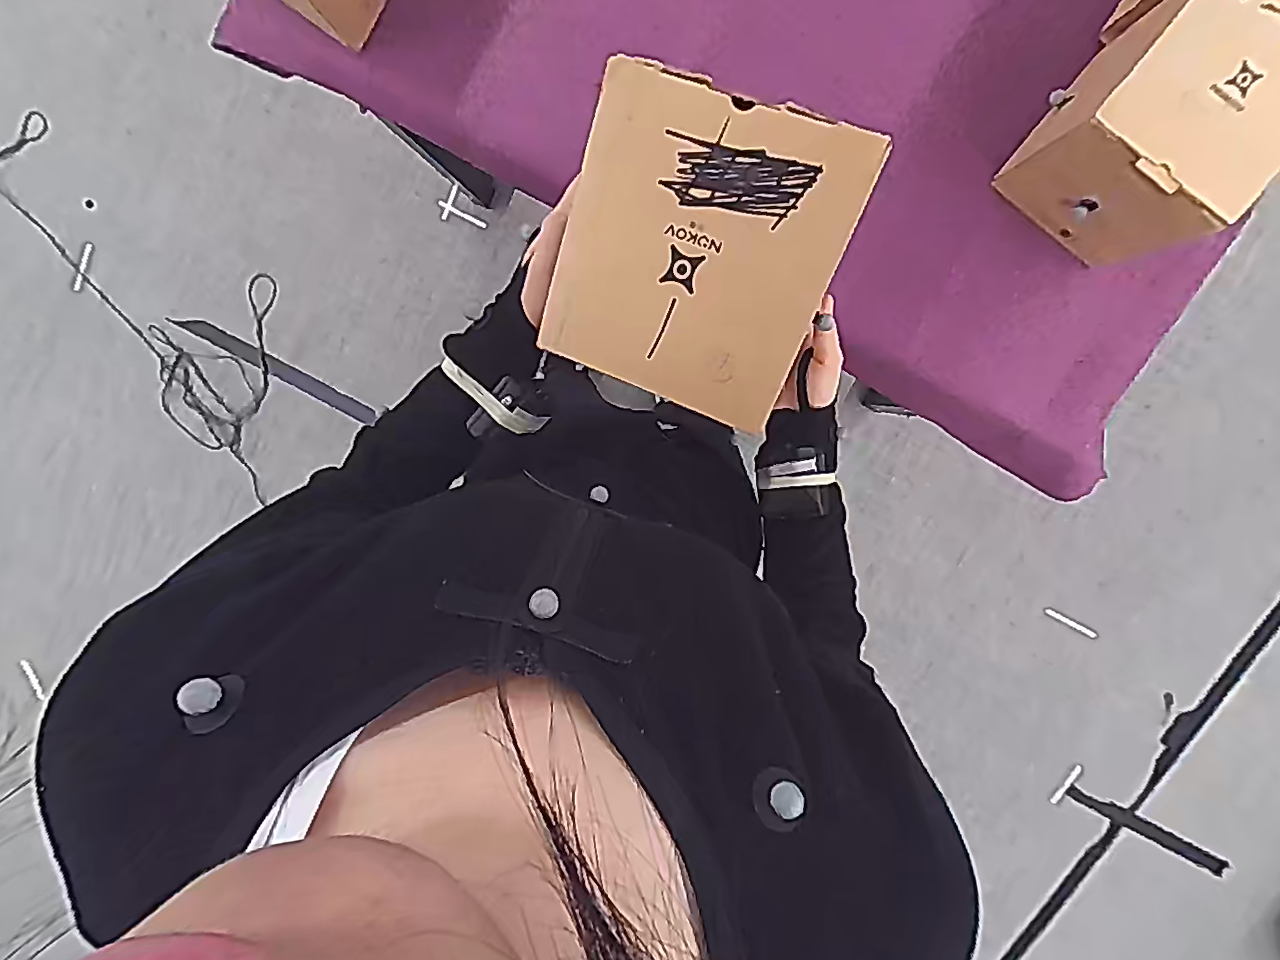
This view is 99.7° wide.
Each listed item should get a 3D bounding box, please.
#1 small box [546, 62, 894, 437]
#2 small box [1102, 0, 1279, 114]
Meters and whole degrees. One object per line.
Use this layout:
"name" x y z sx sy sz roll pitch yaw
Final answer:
"small box" 0.057 -0.156 0.405 0.168 0.176 0.179 24 111 9
"small box" 0.625 -0.518 0.530 0.168 0.176 0.179 31 99 -3
